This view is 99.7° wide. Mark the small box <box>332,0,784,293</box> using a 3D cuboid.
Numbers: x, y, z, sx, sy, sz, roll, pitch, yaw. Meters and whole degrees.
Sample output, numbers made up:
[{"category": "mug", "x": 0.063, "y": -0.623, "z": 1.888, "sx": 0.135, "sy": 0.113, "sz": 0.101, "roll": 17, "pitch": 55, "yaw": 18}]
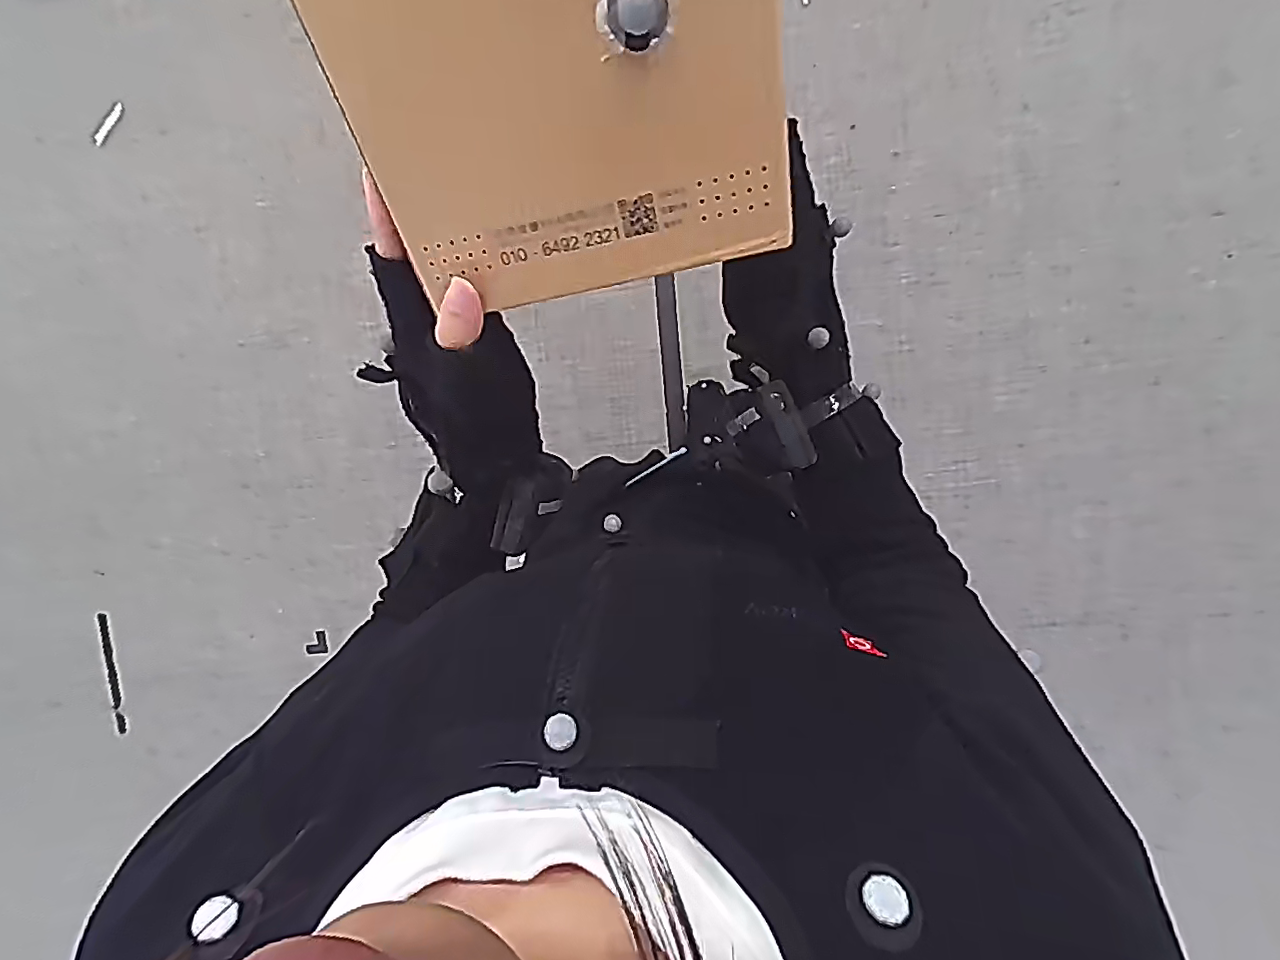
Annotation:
[{"category": "small box", "x": -0.024, "y": -0.210, "z": 0.280, "sx": 0.168, "sy": 0.179, "sz": 0.176, "roll": -8, "pitch": 126, "yaw": 10}]
